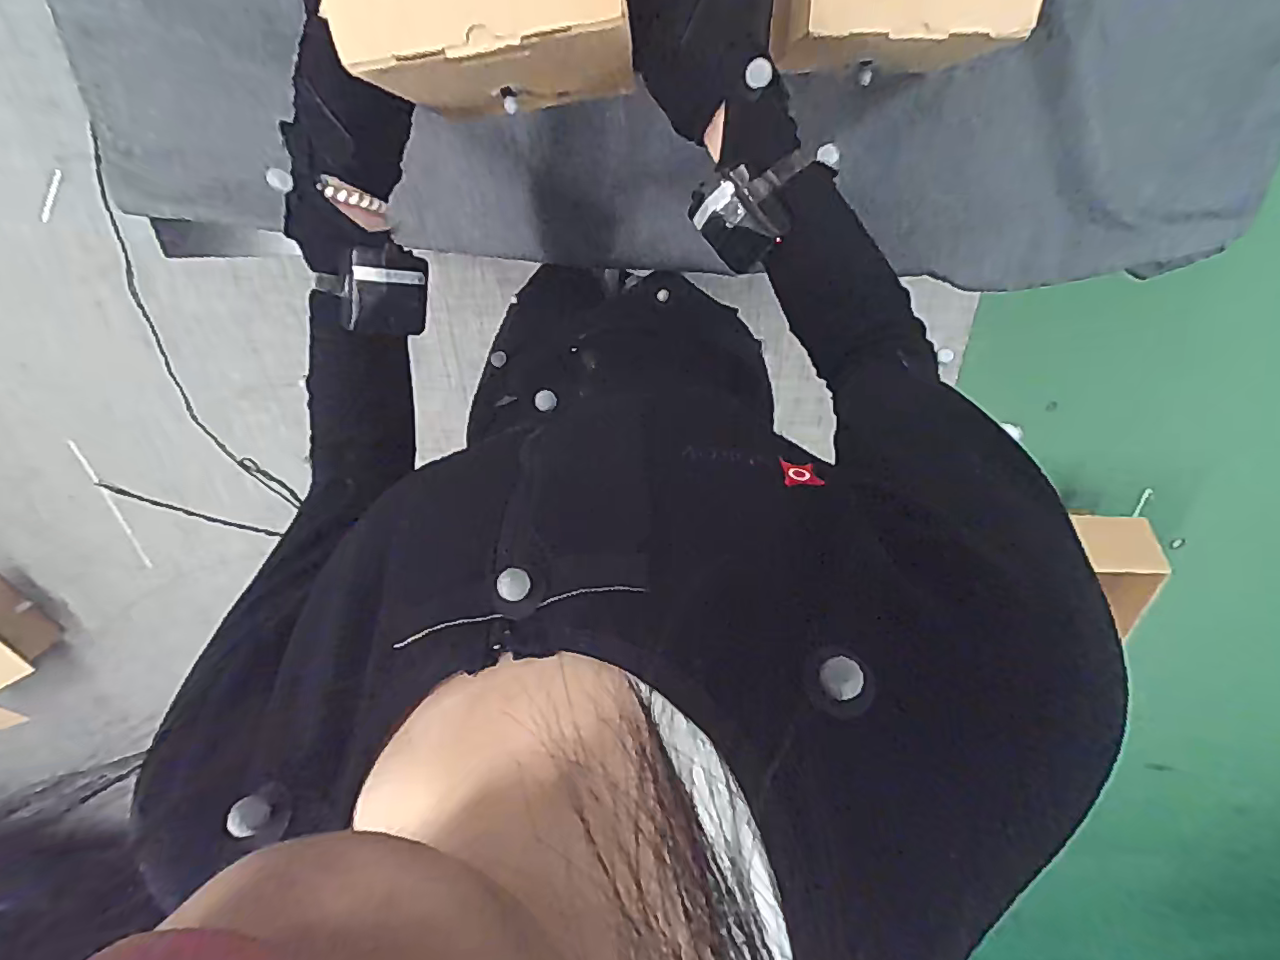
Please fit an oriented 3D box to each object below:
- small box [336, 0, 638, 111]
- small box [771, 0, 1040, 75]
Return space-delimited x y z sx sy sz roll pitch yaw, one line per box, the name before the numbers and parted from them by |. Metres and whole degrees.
small box | -0.092 -0.358 0.340 0.168 0.176 0.179 -6 117 4
small box | 0.207 -0.442 0.426 0.168 0.176 0.179 1 121 1
